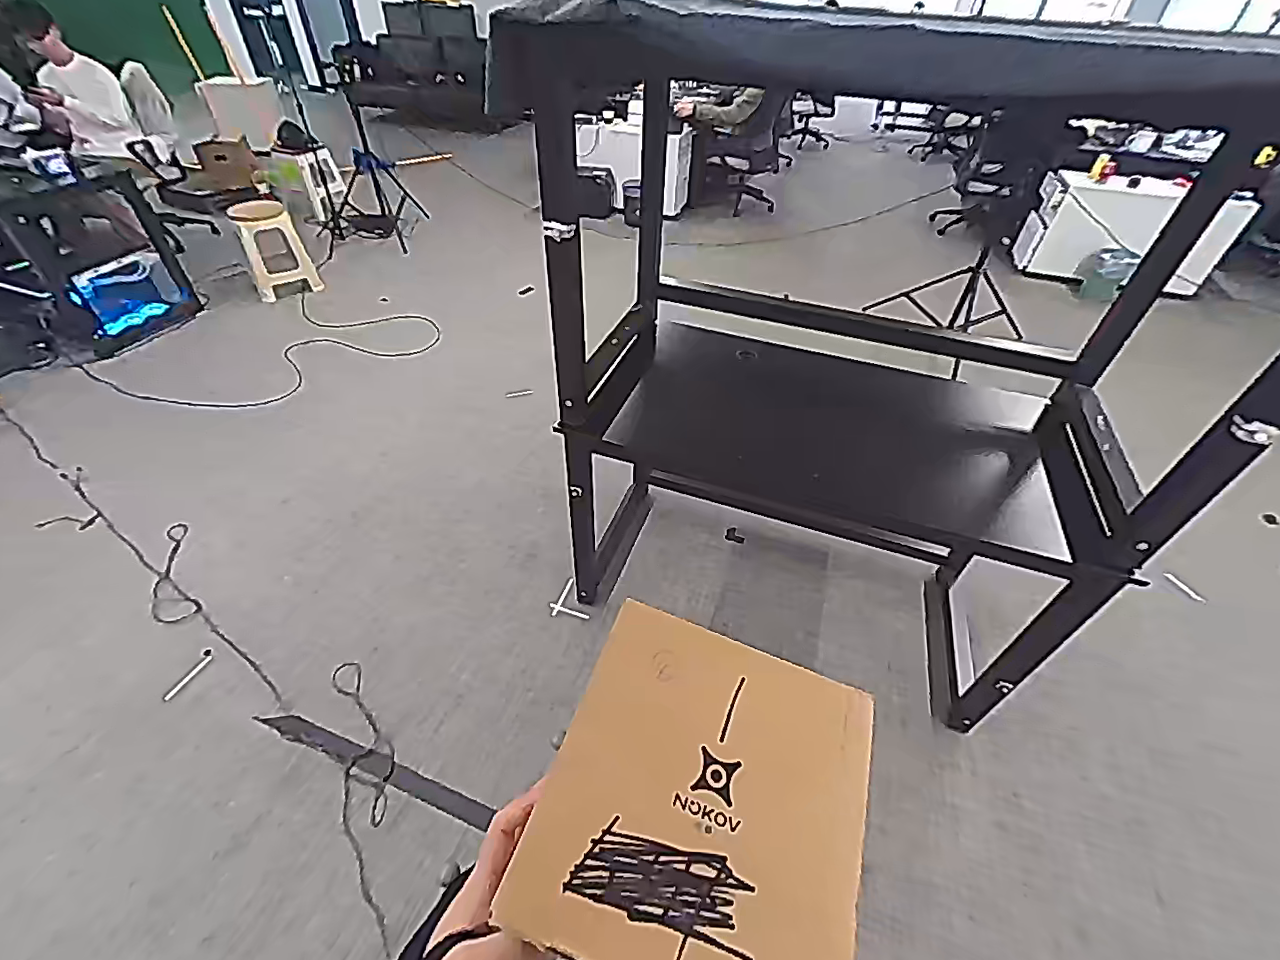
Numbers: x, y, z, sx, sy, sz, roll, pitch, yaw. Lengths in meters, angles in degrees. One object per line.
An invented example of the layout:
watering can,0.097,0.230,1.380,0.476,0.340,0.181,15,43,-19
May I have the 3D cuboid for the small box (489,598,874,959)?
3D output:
small box,0.027,0.214,0.349,0.168,0.176,0.179,21,51,8
